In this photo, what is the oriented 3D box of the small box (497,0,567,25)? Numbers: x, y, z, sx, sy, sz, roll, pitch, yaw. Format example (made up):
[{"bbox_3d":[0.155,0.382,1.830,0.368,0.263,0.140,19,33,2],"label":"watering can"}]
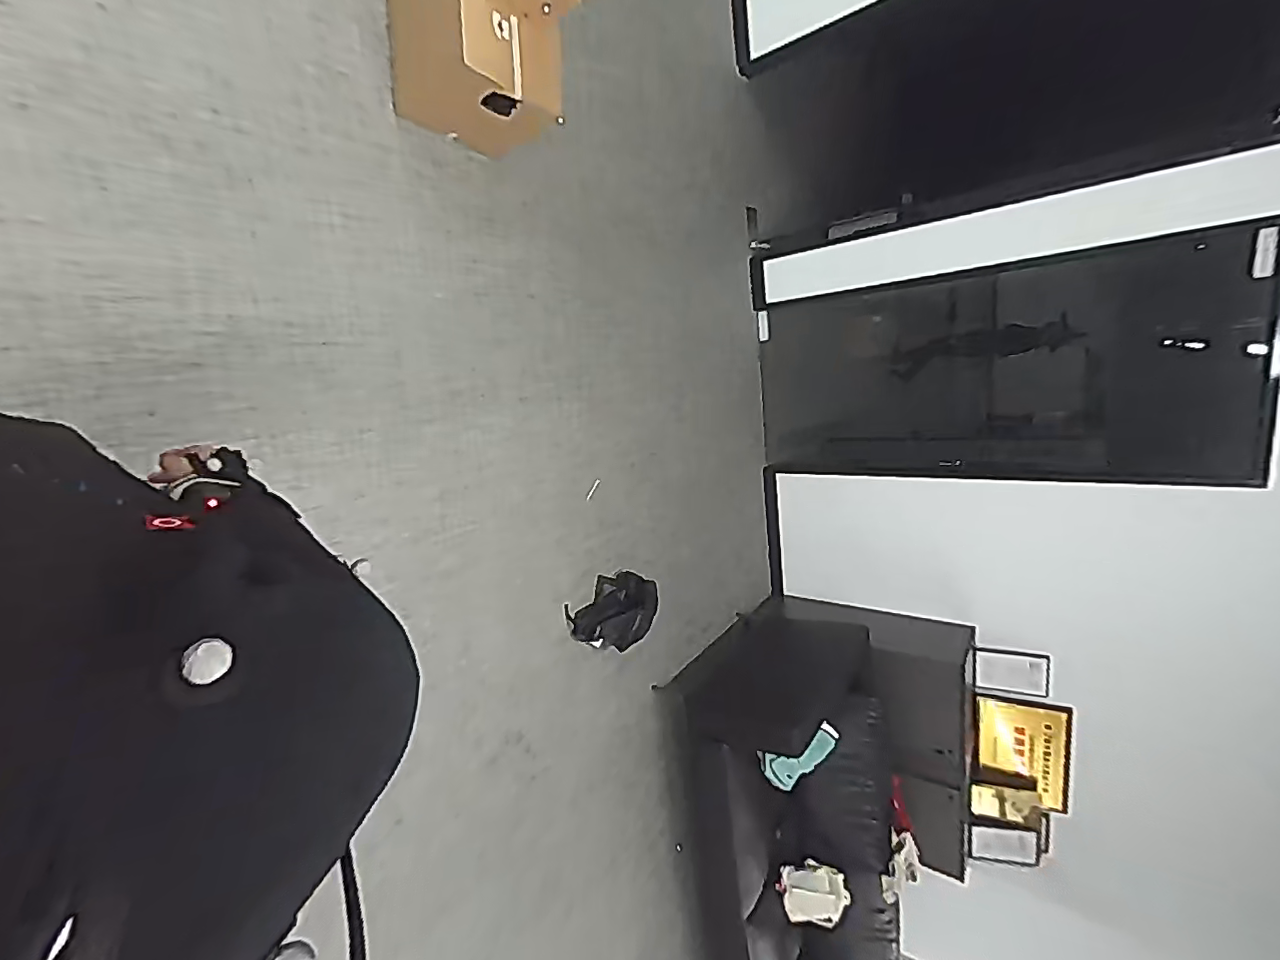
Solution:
[{"bbox_3d":[-0.263,-1.221,1.257,0.168,0.176,0.179,-11,100,-53],"label":"small box"}]

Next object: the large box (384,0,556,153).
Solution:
[{"bbox_3d":[-0.445,-1.165,1.421,0.320,0.320,0.408,-11,102,-51],"label":"large box"}]
